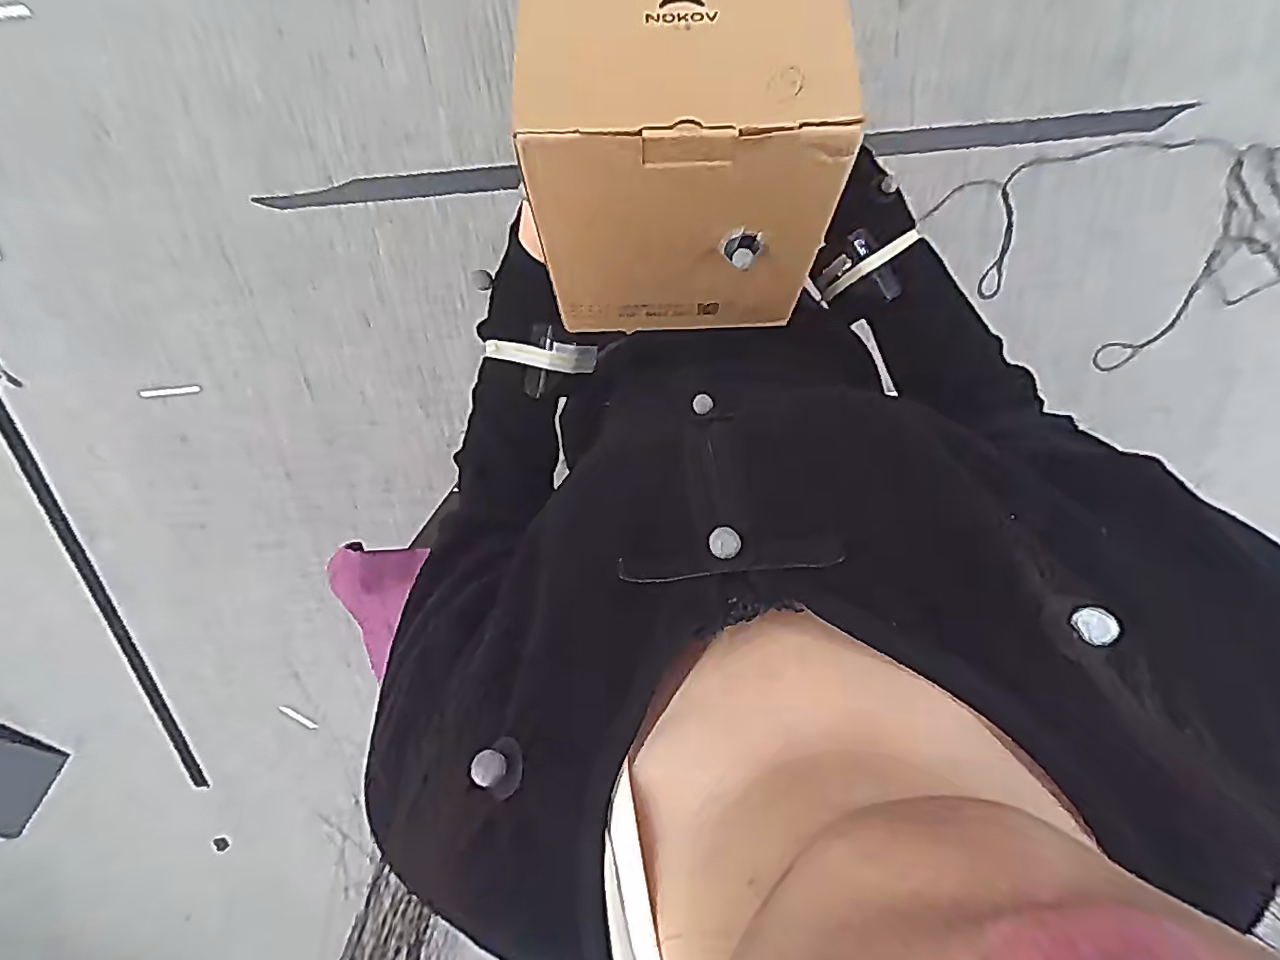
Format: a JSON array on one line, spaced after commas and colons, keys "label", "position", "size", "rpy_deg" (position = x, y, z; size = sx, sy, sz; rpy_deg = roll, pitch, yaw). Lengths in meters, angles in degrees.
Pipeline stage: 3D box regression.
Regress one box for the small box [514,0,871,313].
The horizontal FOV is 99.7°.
[{"label": "small box", "position": [0.024, -0.222, 0.344], "size": [0.168, 0.176, 0.179], "rpy_deg": [-2, 73, 0]}]
